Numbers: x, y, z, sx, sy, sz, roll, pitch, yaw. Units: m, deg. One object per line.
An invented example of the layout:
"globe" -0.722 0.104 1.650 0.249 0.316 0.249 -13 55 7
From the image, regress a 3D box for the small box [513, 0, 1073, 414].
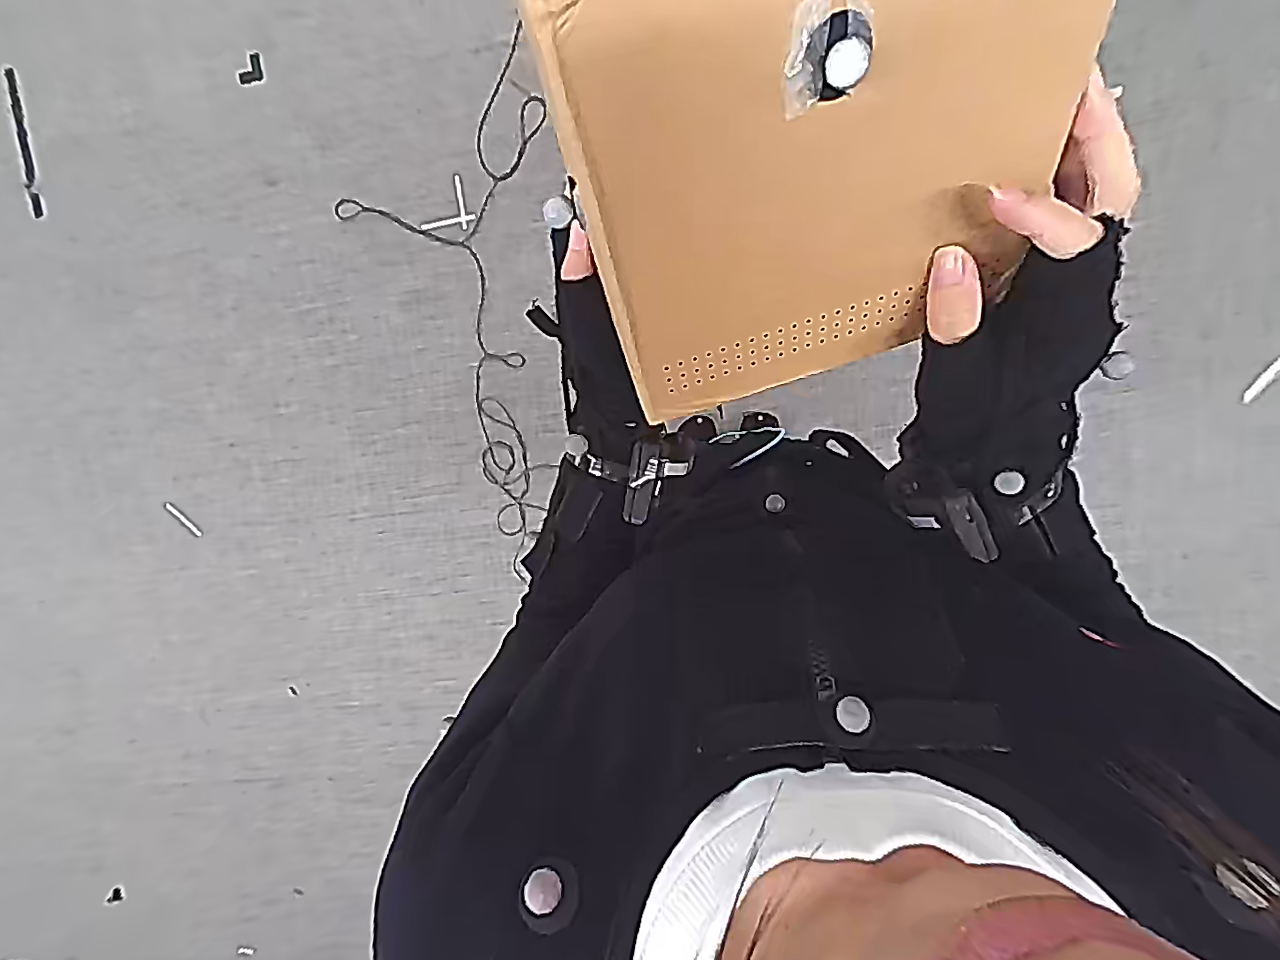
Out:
"small box" 0.055 -0.156 0.249 0.179 0.168 0.176 -17 140 2
